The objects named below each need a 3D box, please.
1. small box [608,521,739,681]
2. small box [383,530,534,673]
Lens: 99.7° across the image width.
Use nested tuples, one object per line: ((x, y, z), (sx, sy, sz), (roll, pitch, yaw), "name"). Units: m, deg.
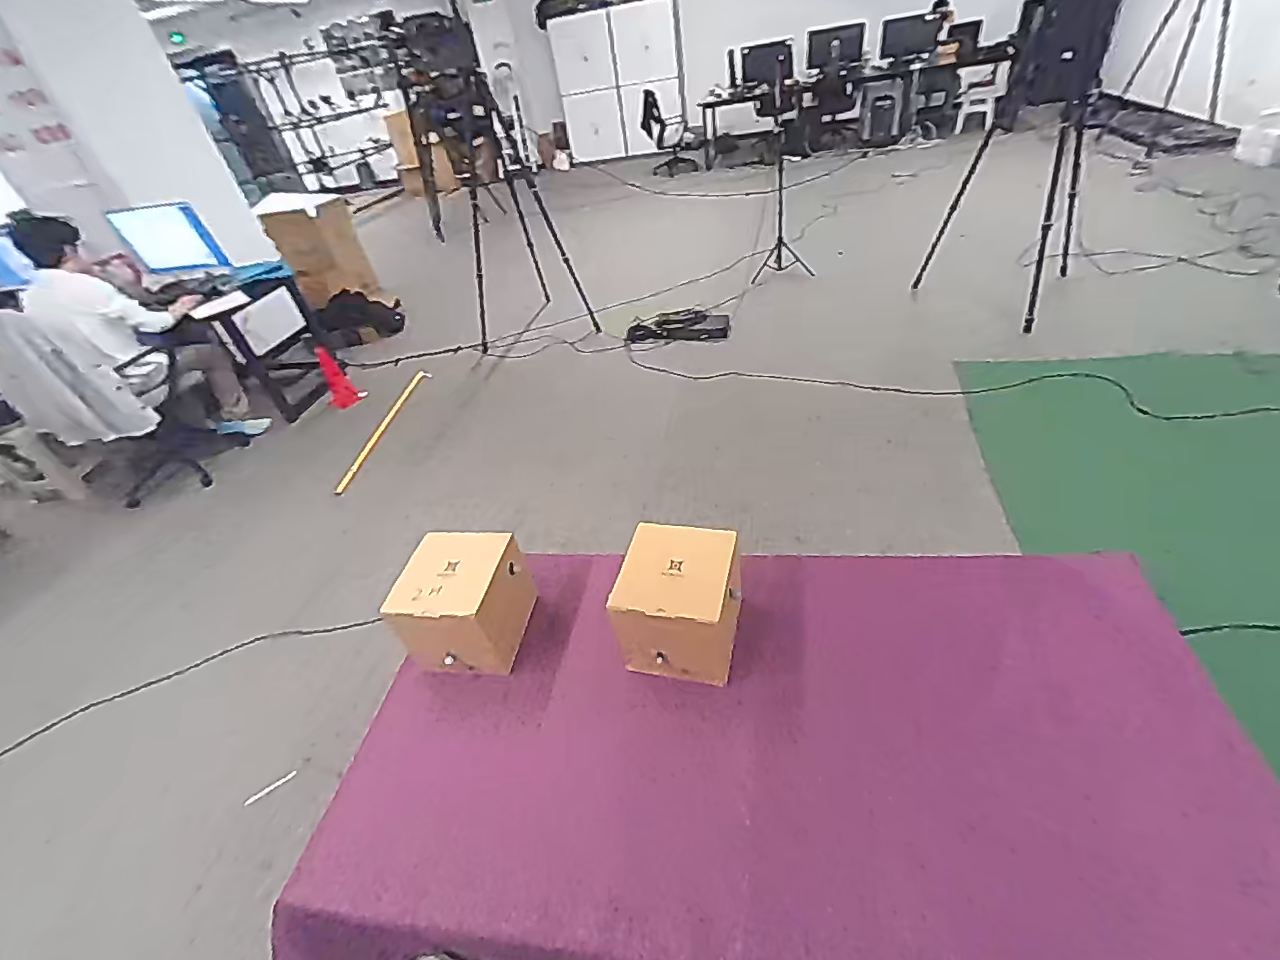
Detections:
((0.065, 0.191, 0.869), (0.168, 0.176, 0.179), (4, 43, 18), "small box")
((-0.297, 0.206, 0.935), (0.168, 0.176, 0.179), (-1, 41, 13), "small box")
